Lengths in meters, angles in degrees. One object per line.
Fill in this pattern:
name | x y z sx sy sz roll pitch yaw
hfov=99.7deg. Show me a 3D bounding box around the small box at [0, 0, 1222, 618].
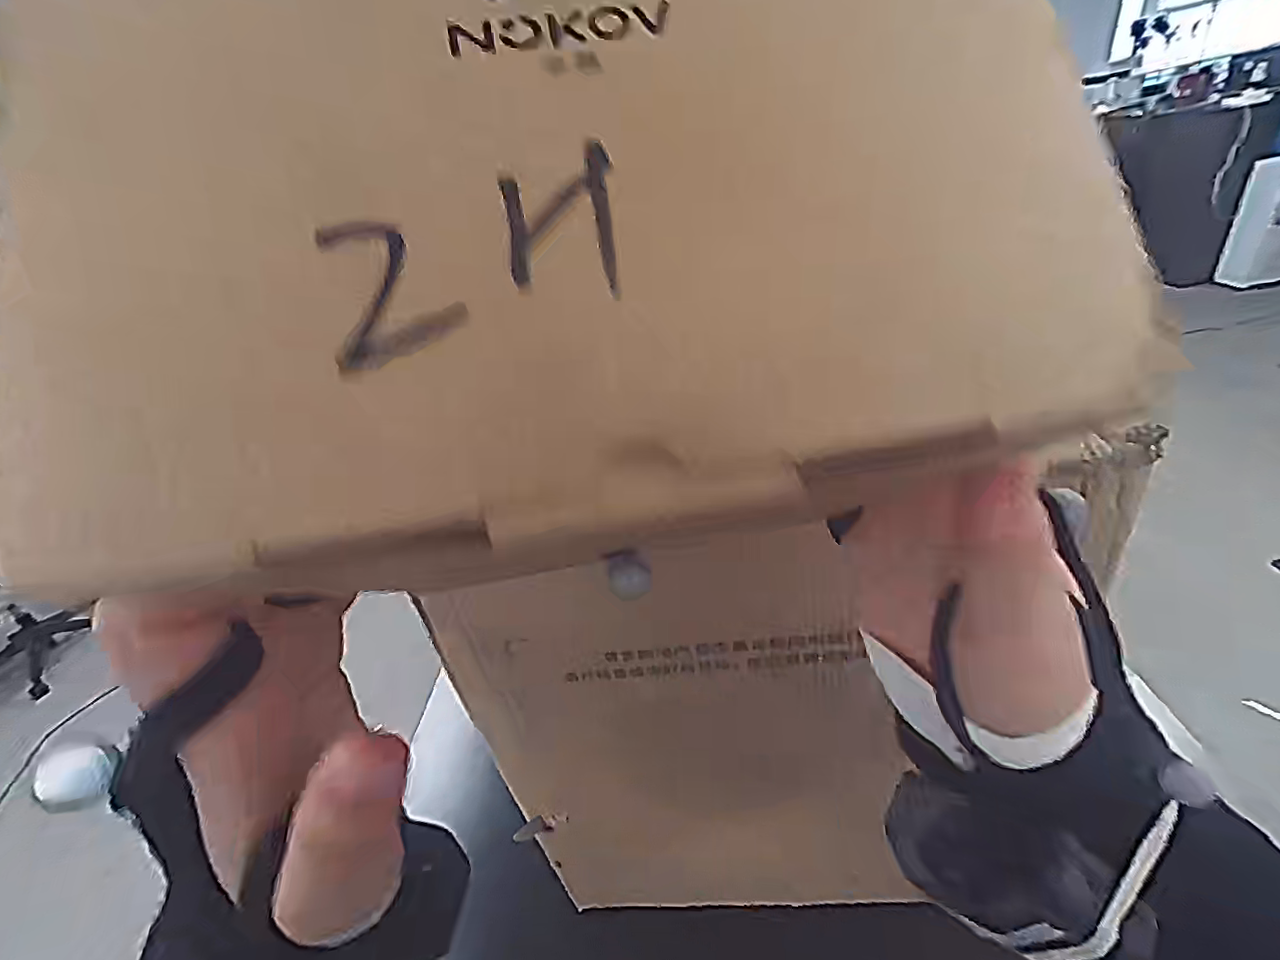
small box | -0.014 -0.064 0.165 0.168 0.179 0.176 -10 -9 -4
